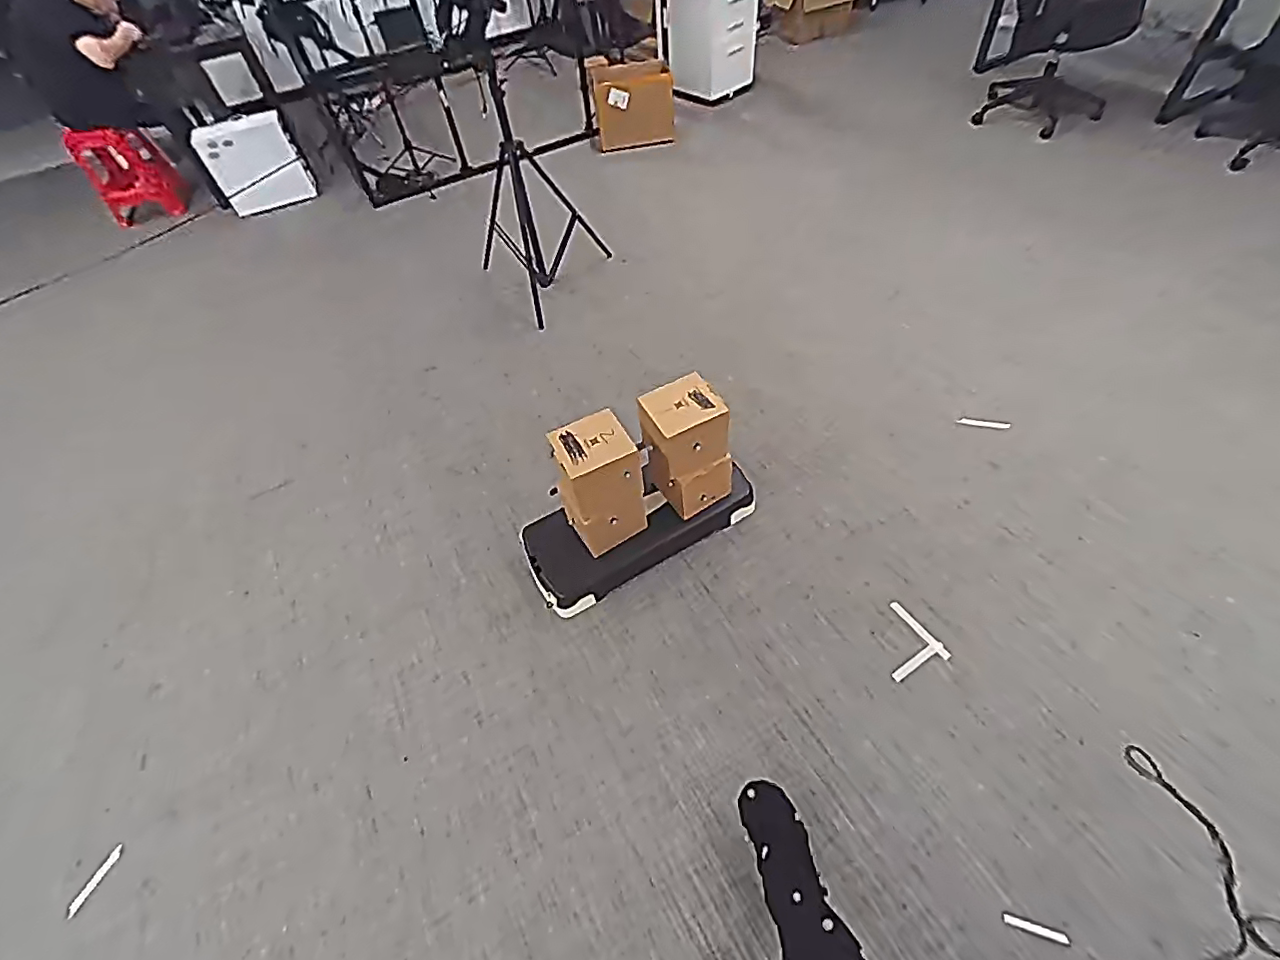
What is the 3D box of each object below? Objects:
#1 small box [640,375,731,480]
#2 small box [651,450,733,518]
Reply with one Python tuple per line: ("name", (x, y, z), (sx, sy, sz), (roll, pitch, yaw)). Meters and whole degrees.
("small box", (0.115, -0.133, 1.395), (0.179, 0.176, 0.168), (-25, 54, -11))
("small box", (0.141, -0.025, 1.517), (0.168, 0.176, 0.179), (-29, 55, -15))
